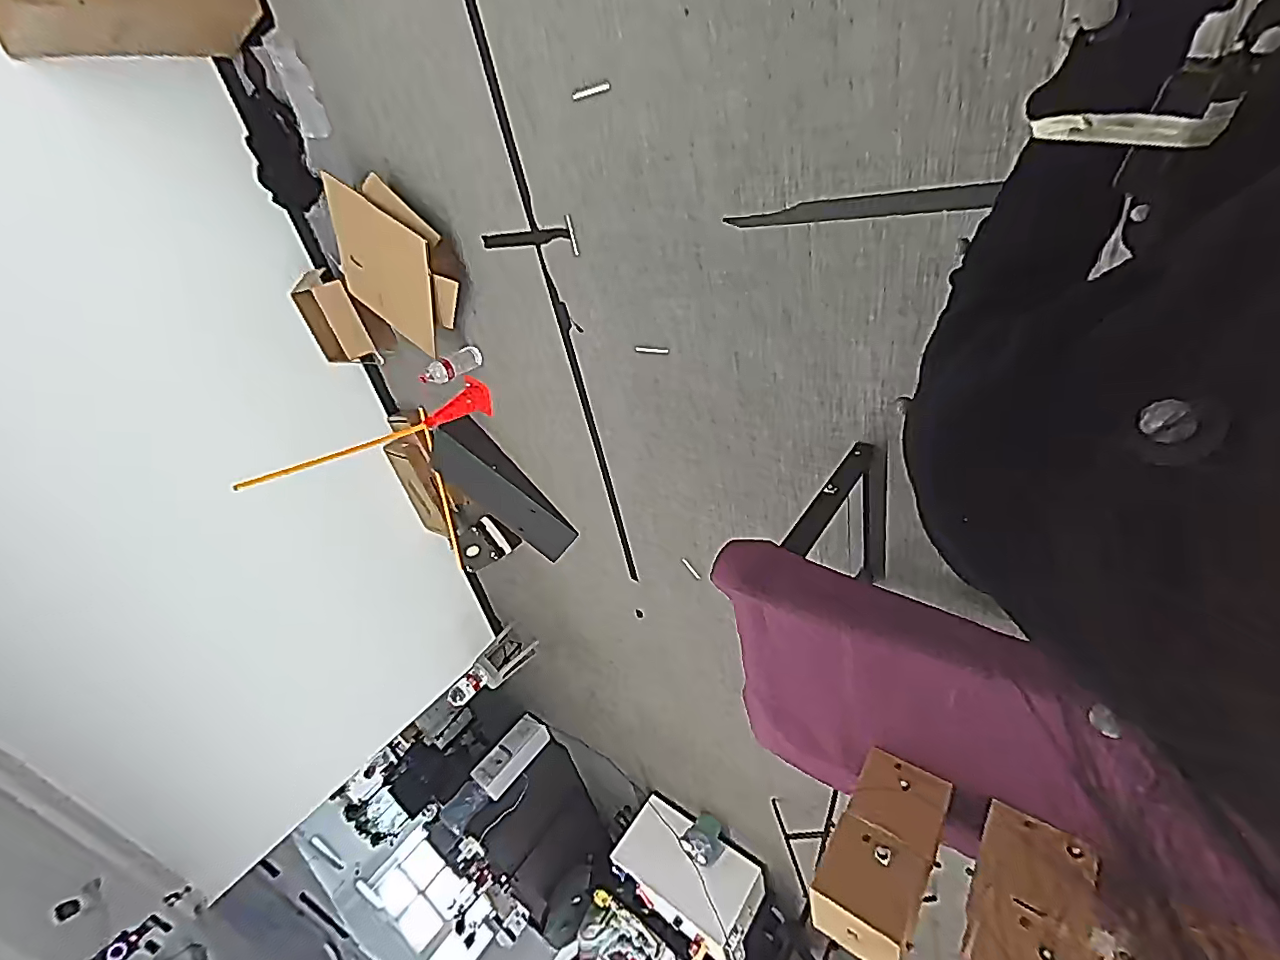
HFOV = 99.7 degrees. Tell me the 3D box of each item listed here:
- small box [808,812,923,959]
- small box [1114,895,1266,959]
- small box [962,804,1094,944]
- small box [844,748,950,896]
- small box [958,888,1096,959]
[{"bbox_3d":[0.447,0.811,1.067,0.168,0.176,0.179,12,128,38],"label":"small box"},{"bbox_3d":[0.913,0.846,0.895,0.168,0.176,0.179,16,130,36],"label":"small box"},{"bbox_3d":[0.723,0.754,1.010,0.168,0.176,0.179,15,131,37],"label":"small box"},{"bbox_3d":[0.548,0.725,1.159,0.168,0.176,0.179,14,130,36],"label":"small box"},{"bbox_3d":[0.636,0.845,0.906,0.168,0.176,0.179,17,131,36],"label":"small box"}]
